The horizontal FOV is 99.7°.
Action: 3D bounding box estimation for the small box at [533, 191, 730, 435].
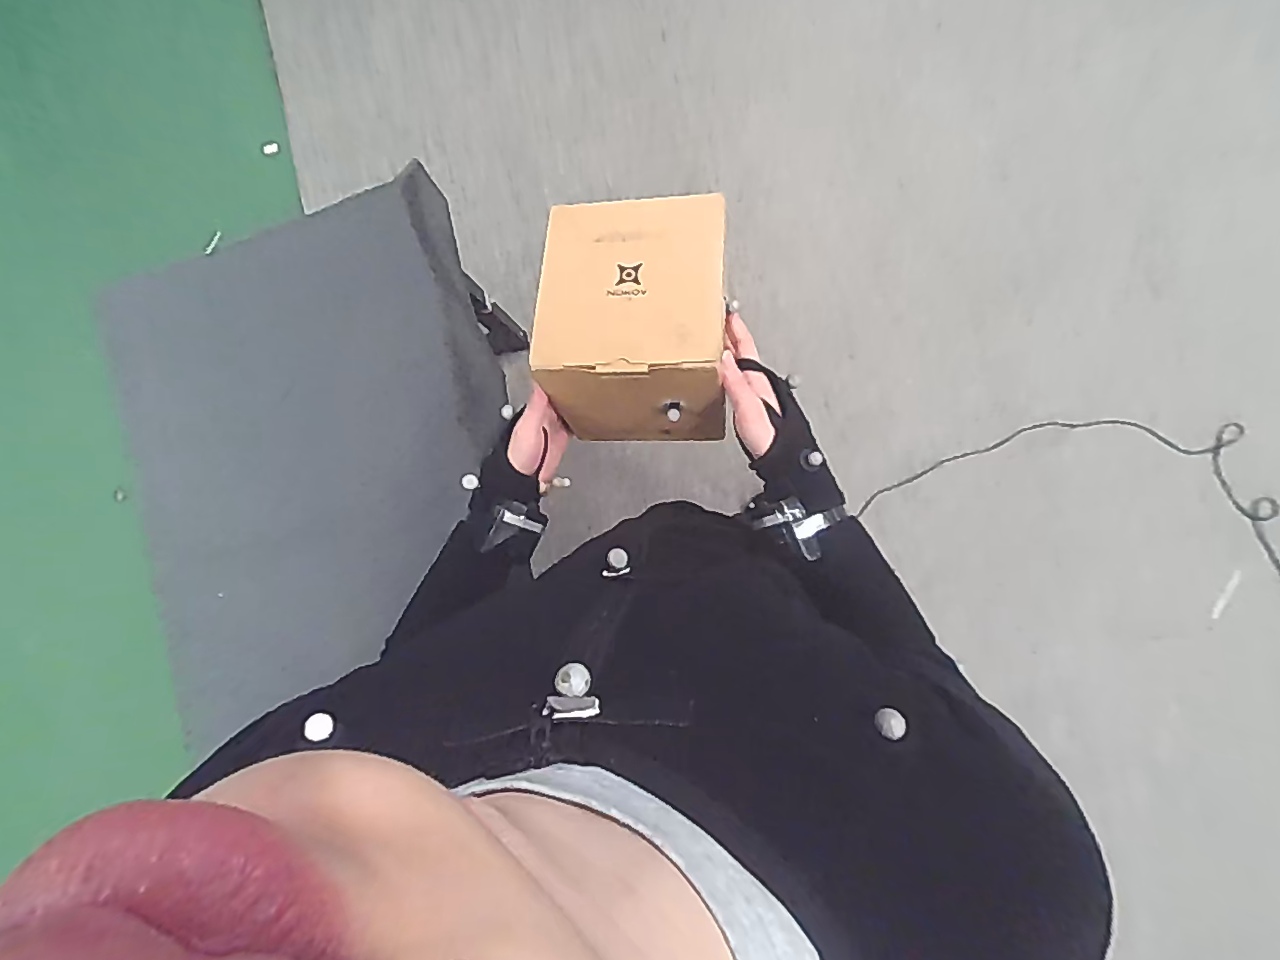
[{"bbox_3d":[0.005,-0.153,0.547,0.168,0.176,0.179,1,71,9],"label":"small box"}]
